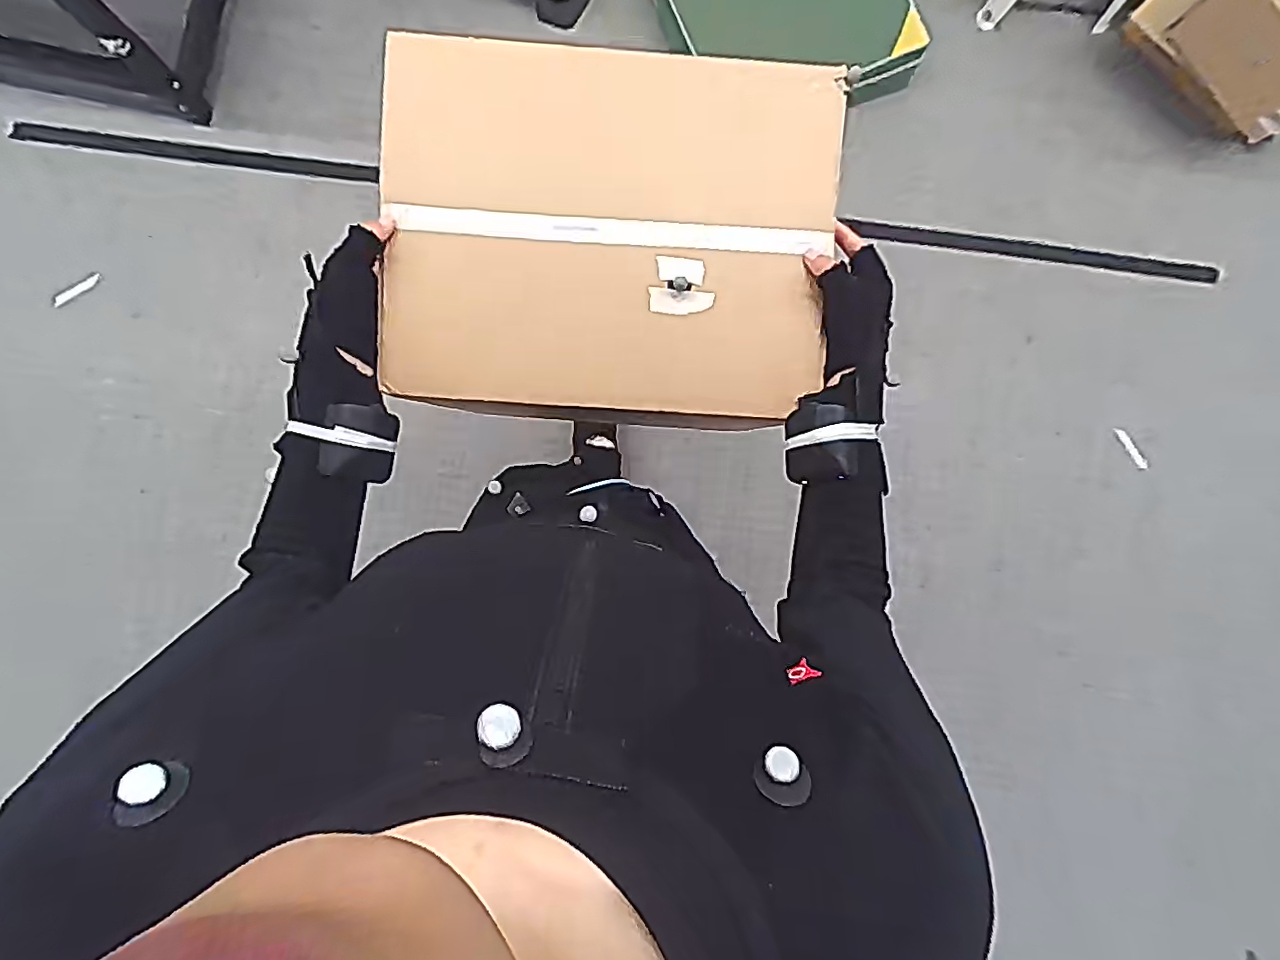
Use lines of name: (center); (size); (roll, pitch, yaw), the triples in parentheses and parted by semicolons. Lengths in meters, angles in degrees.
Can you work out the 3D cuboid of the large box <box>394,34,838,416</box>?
large box: (-0.029, -0.247, 0.647); (0.408, 0.320, 0.320); (4, 95, -2)
